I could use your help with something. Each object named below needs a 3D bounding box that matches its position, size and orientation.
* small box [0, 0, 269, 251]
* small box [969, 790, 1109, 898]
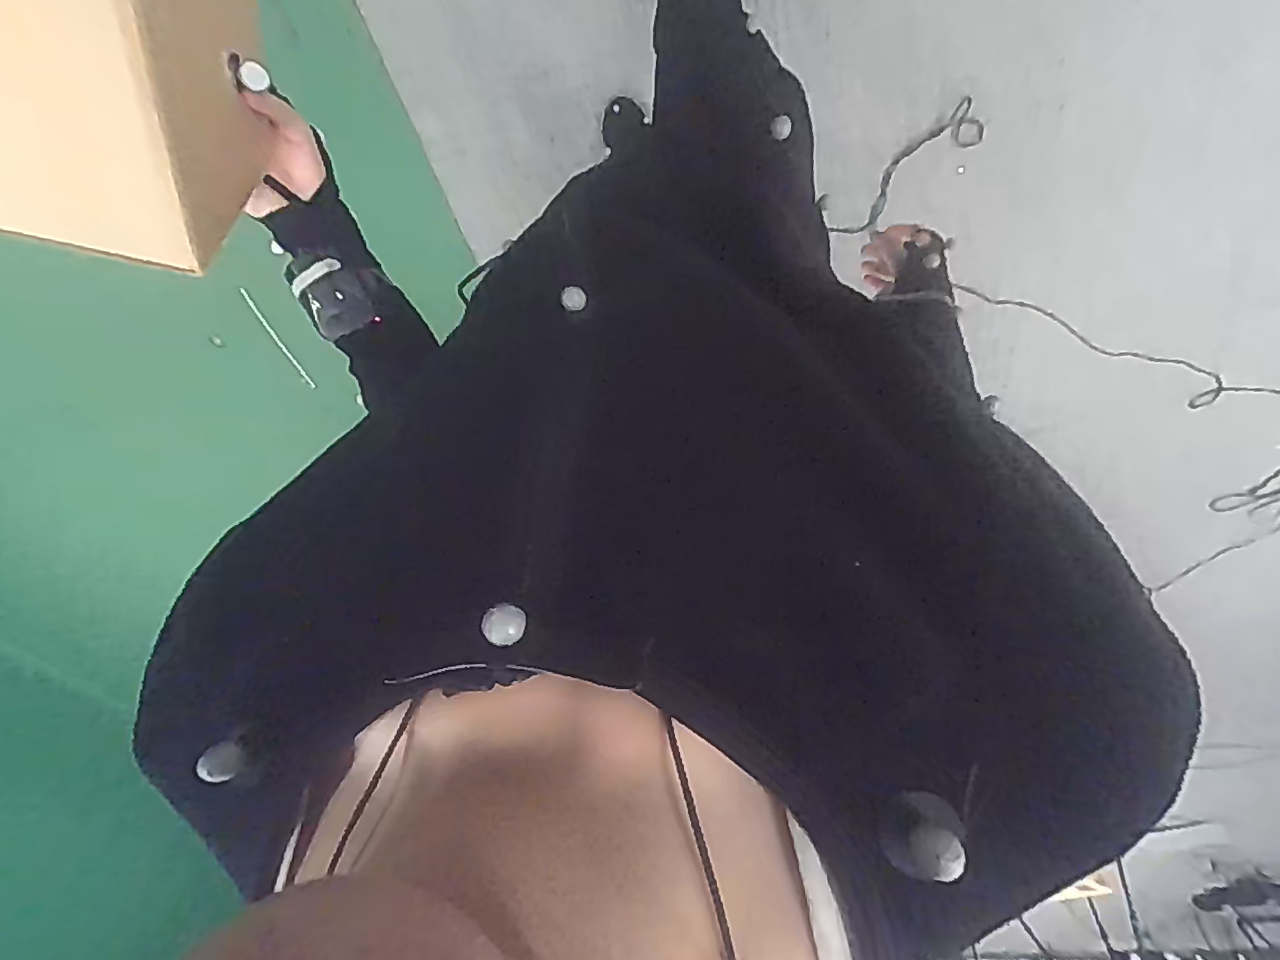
[{"bbox_3d":[-0.305,-0.250,0.257,0.179,0.168,0.176,8,139,-24],"label":"small box"},{"bbox_3d":[0.908,0.837,1.245,0.168,0.176,0.179,33,126,-25],"label":"small box"}]
